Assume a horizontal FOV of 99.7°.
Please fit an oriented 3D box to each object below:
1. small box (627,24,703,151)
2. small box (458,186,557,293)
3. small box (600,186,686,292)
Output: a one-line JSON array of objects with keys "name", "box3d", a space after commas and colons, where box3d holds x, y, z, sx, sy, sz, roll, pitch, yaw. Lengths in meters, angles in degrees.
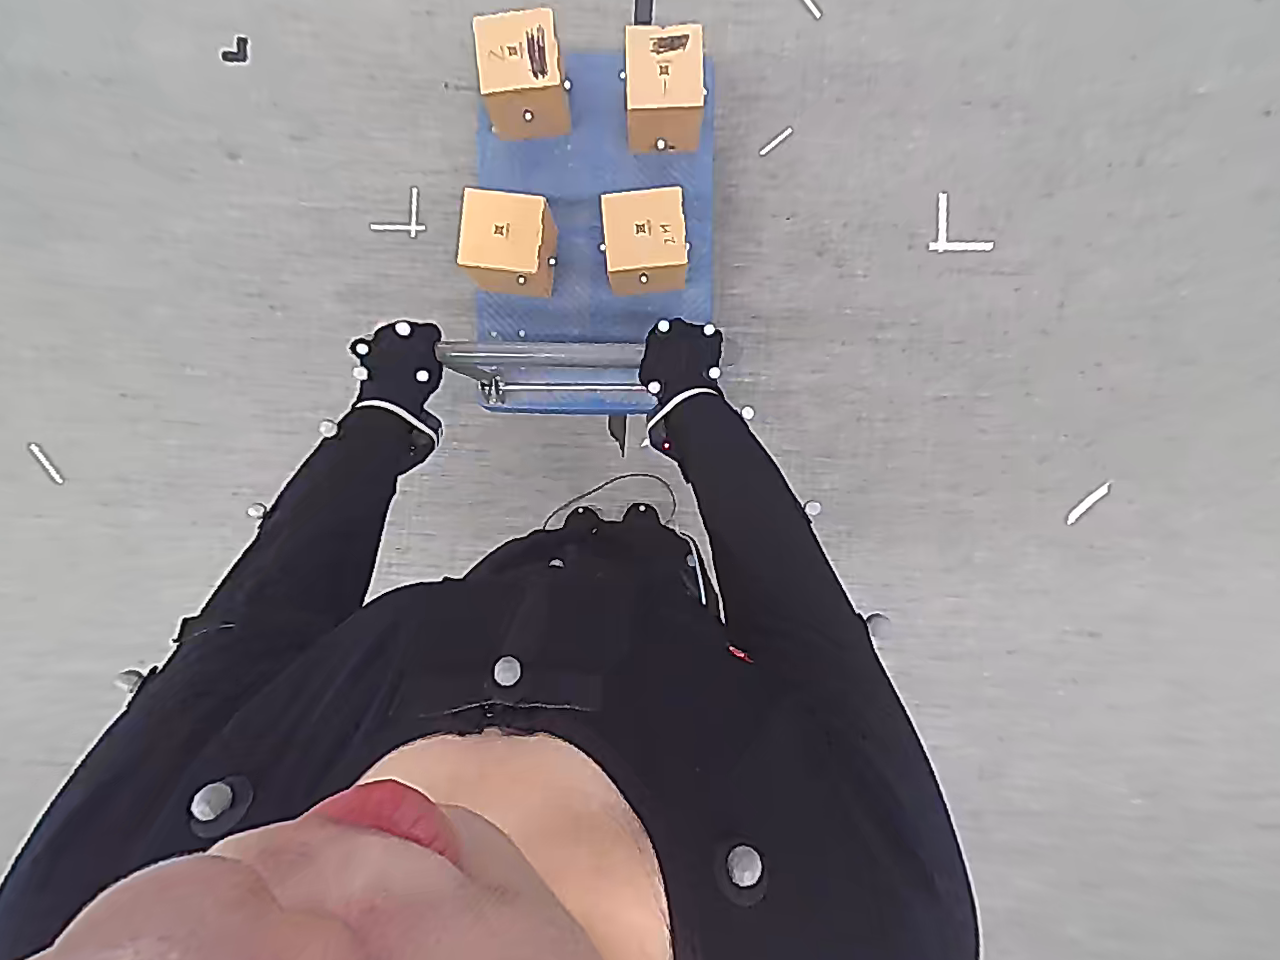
[{"name": "small box", "box3d": [0.053, -0.885, 1.231, 0.168, 0.176, 0.179, -1, 92, 1]}, {"name": "small box", "box3d": [-0.297, -0.543, 1.242, 0.179, 0.176, 0.168, 6, 91, -1]}, {"name": "small box", "box3d": [0.010, -0.542, 1.237, 0.179, 0.176, 0.168, -5, 91, 1]}]
